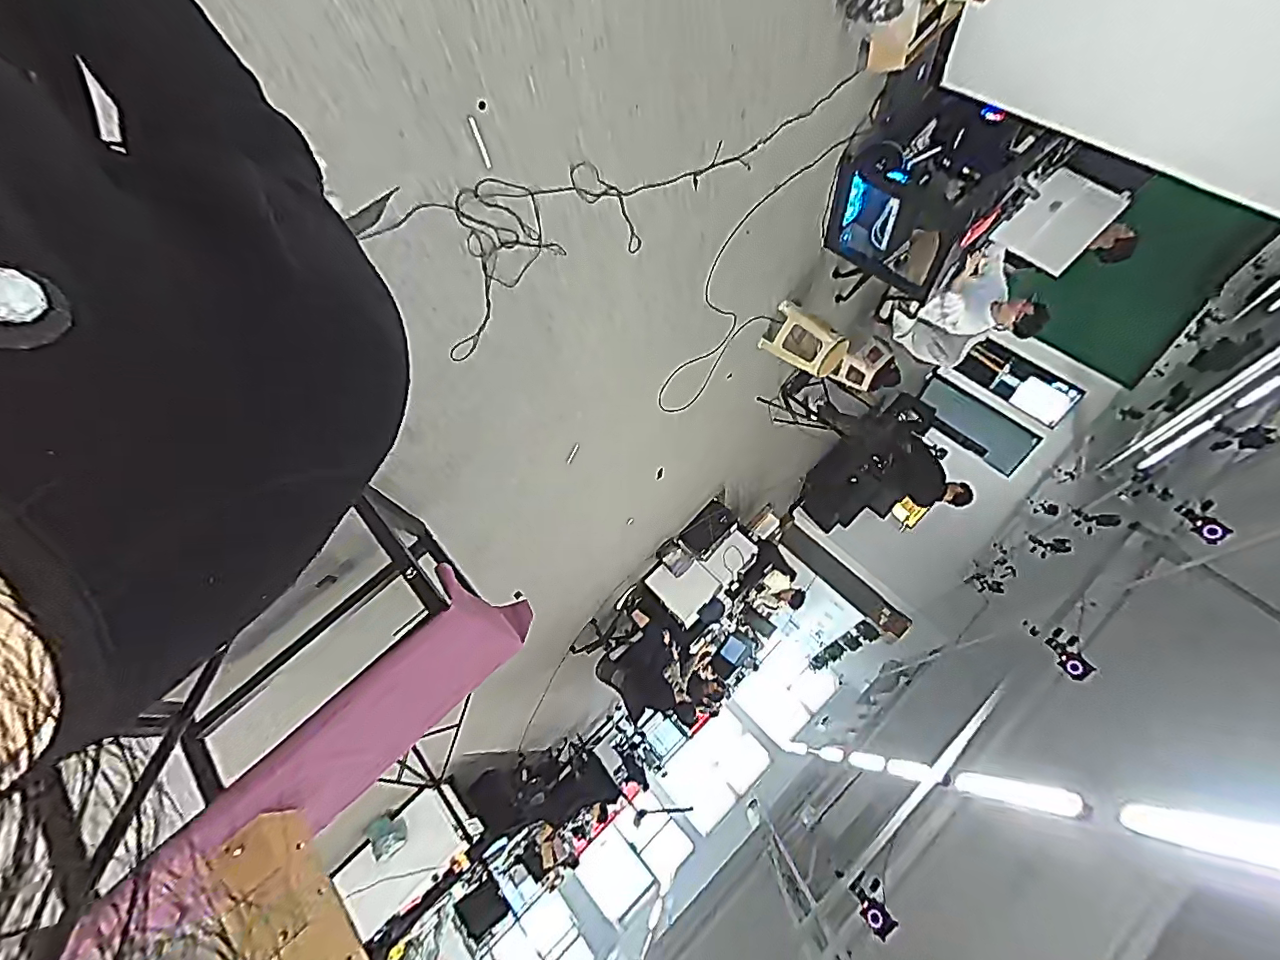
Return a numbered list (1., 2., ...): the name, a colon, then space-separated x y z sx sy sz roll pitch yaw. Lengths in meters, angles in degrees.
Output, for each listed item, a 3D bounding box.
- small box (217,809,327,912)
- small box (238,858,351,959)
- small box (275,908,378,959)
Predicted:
1. small box: -1.057 1.081 1.557 0.168 0.176 0.179 -41 156 -15
2. small box: -0.946 1.181 1.488 0.168 0.176 0.179 -41 157 -17
3. small box: -0.837 1.280 1.418 0.168 0.176 0.179 -41 156 -17
